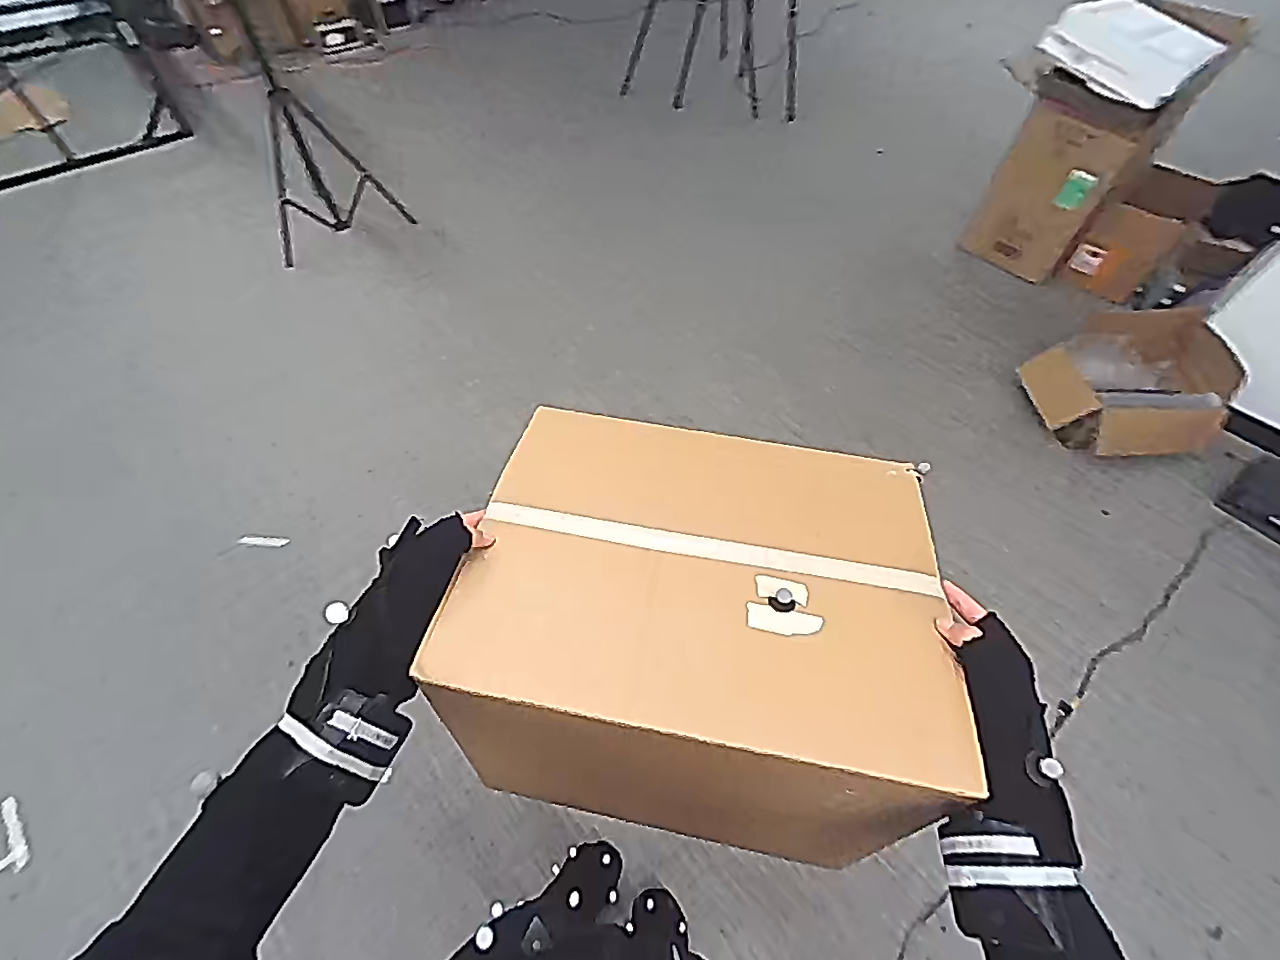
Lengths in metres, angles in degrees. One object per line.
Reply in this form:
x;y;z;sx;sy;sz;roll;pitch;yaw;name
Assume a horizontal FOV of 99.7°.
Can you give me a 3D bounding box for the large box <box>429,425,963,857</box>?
0.048;0.175;0.601;0.408;0.320;0.320;9;47;5;large box
